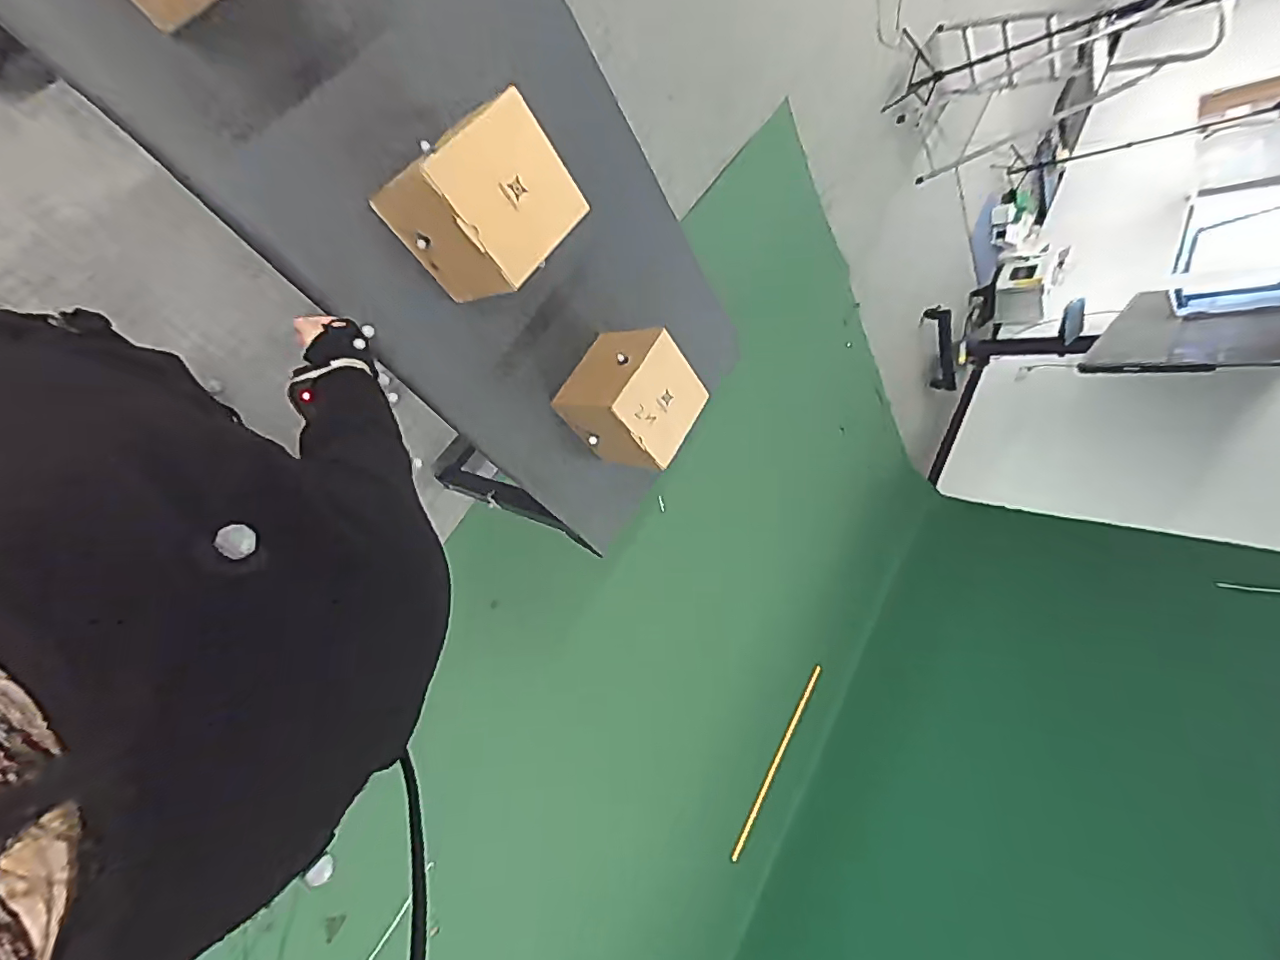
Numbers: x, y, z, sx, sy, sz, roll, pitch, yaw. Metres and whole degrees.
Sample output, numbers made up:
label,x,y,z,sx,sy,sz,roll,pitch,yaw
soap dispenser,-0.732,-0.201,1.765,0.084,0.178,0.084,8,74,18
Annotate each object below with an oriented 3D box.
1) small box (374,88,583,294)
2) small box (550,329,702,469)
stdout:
label,x,y,z,sx,sy,sz,roll,pitch,yaw
small box,-0.218,-0.375,0.728,0.179,0.176,0.168,-56,132,-20
small box,-0.027,-0.146,0.960,0.168,0.176,0.179,48,66,-38
